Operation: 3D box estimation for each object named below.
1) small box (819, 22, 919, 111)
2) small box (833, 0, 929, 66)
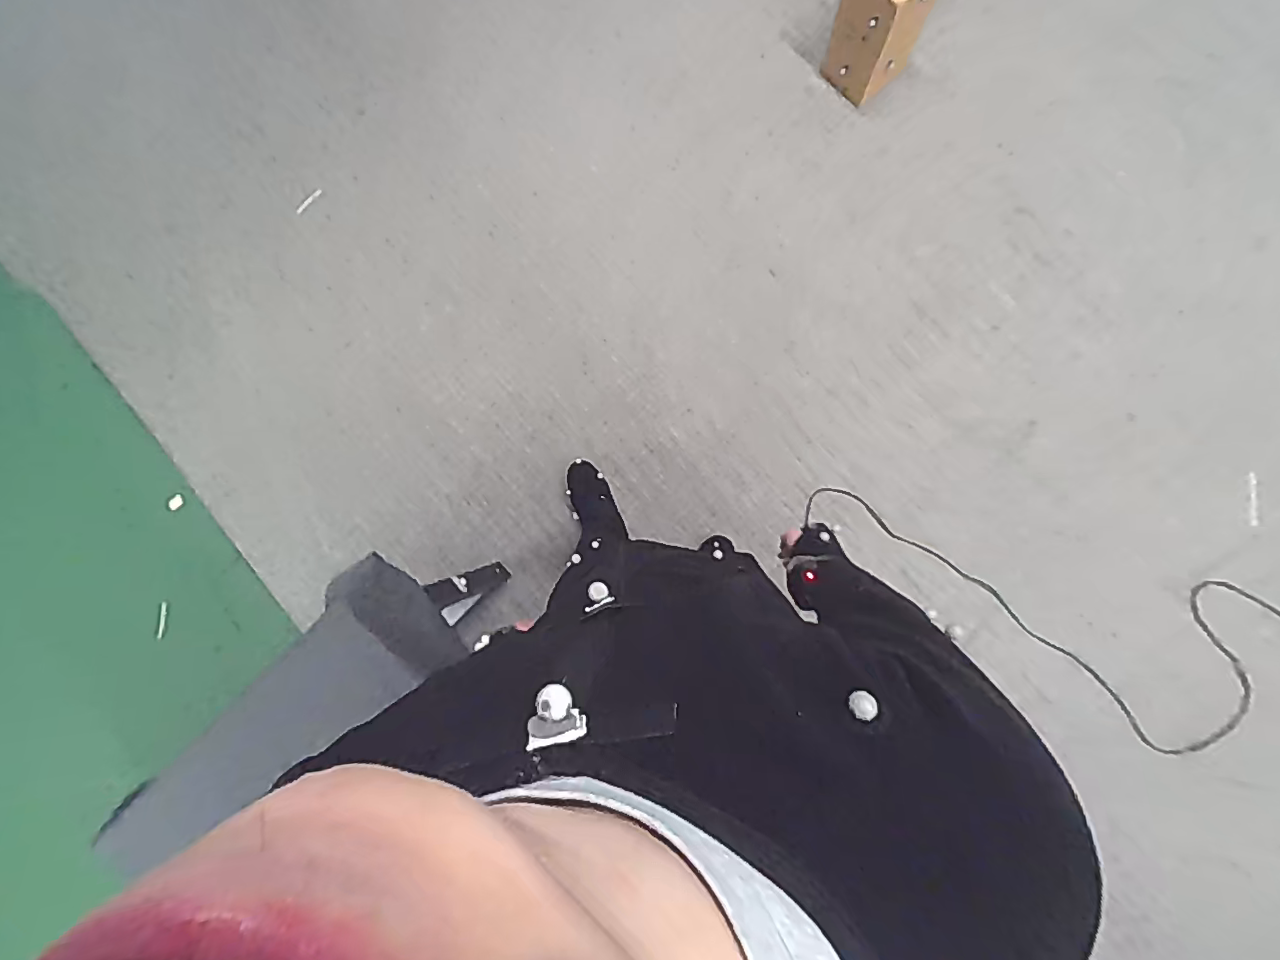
[{"bbox_3d":[0.614,-1.171,1.480,0.179,0.176,0.168,-41,84,4],"label":"small box"},{"bbox_3d":[0.596,-1.178,1.319,0.179,0.176,0.168,-41,85,2],"label":"small box"}]
